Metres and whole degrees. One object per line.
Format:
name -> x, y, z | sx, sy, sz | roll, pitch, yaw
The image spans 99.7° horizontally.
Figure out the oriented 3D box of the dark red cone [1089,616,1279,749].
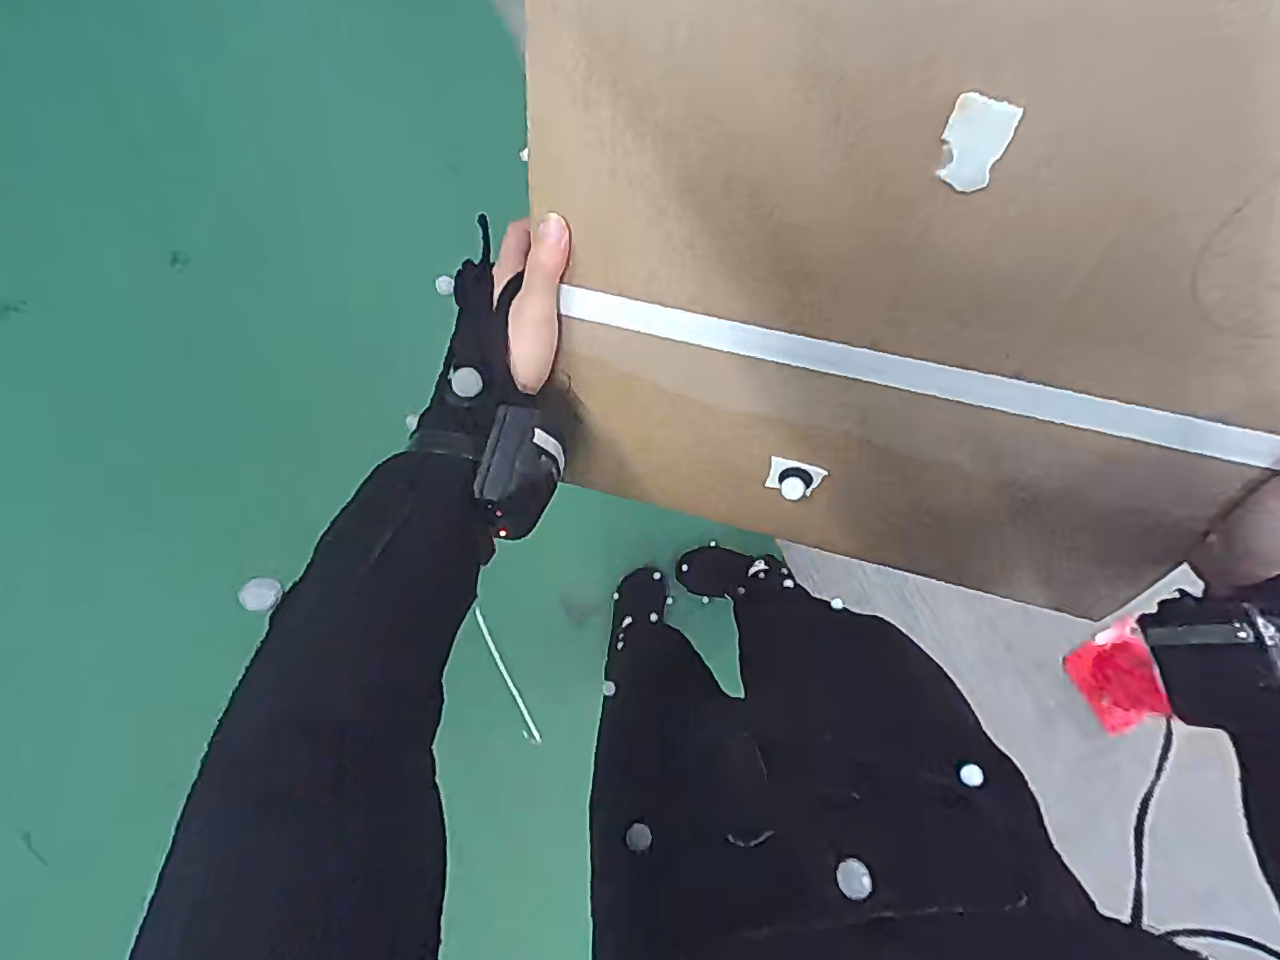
dark red cone -> 1.055, 0.405, 0.962 | 0.201, 0.394, 0.202 | -35, 87, 1
